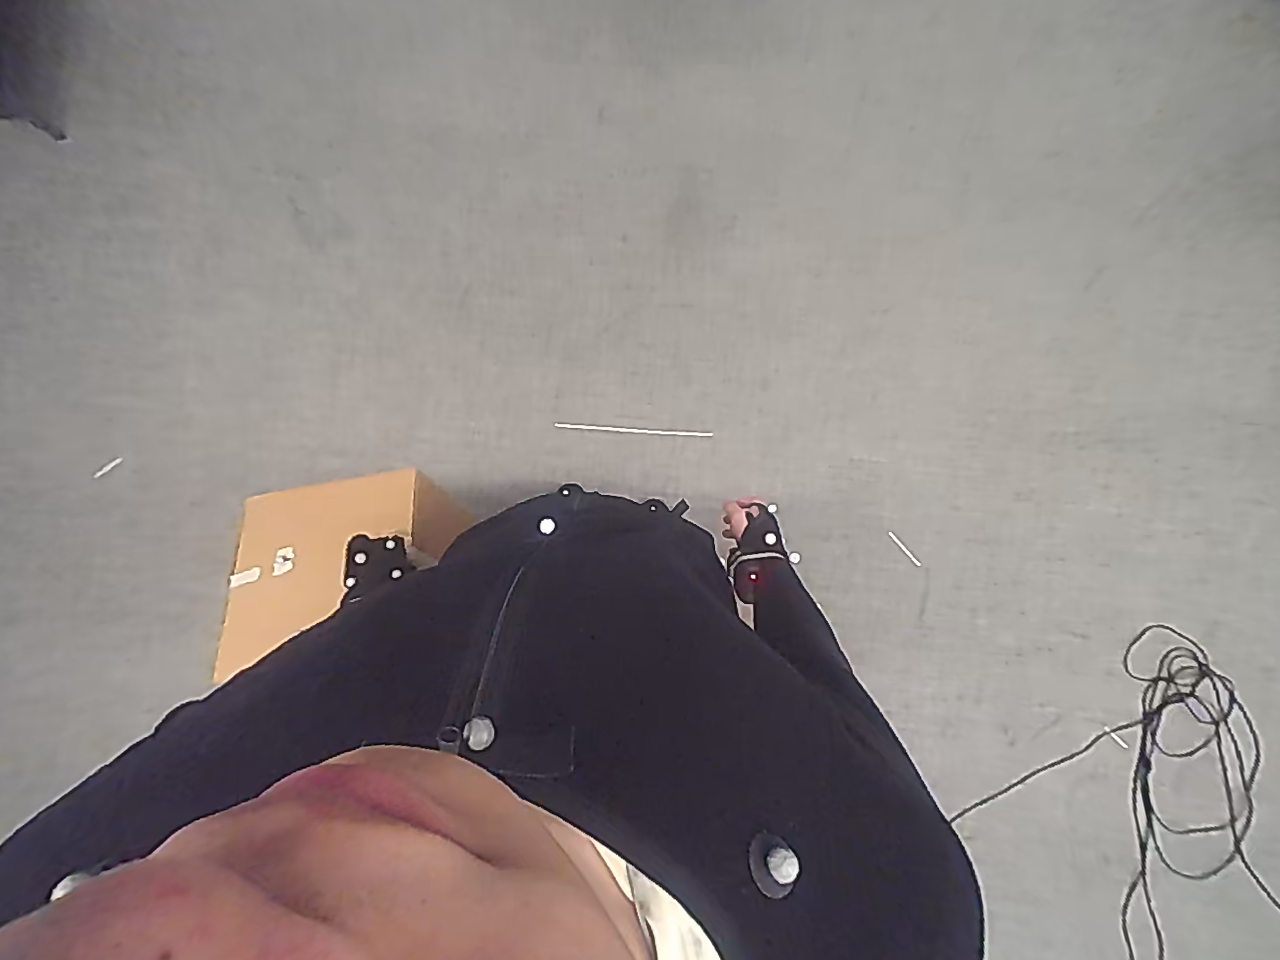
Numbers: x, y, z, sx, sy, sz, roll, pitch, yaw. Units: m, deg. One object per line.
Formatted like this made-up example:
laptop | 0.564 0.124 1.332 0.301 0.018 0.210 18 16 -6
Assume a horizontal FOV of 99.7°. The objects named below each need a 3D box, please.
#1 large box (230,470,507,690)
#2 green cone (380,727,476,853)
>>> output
large box | -0.482 0.218 1.048 0.320 0.408 0.320 -10 66 3
green cone | -0.598 0.849 1.444 0.200 0.368 0.202 10 90 -1
